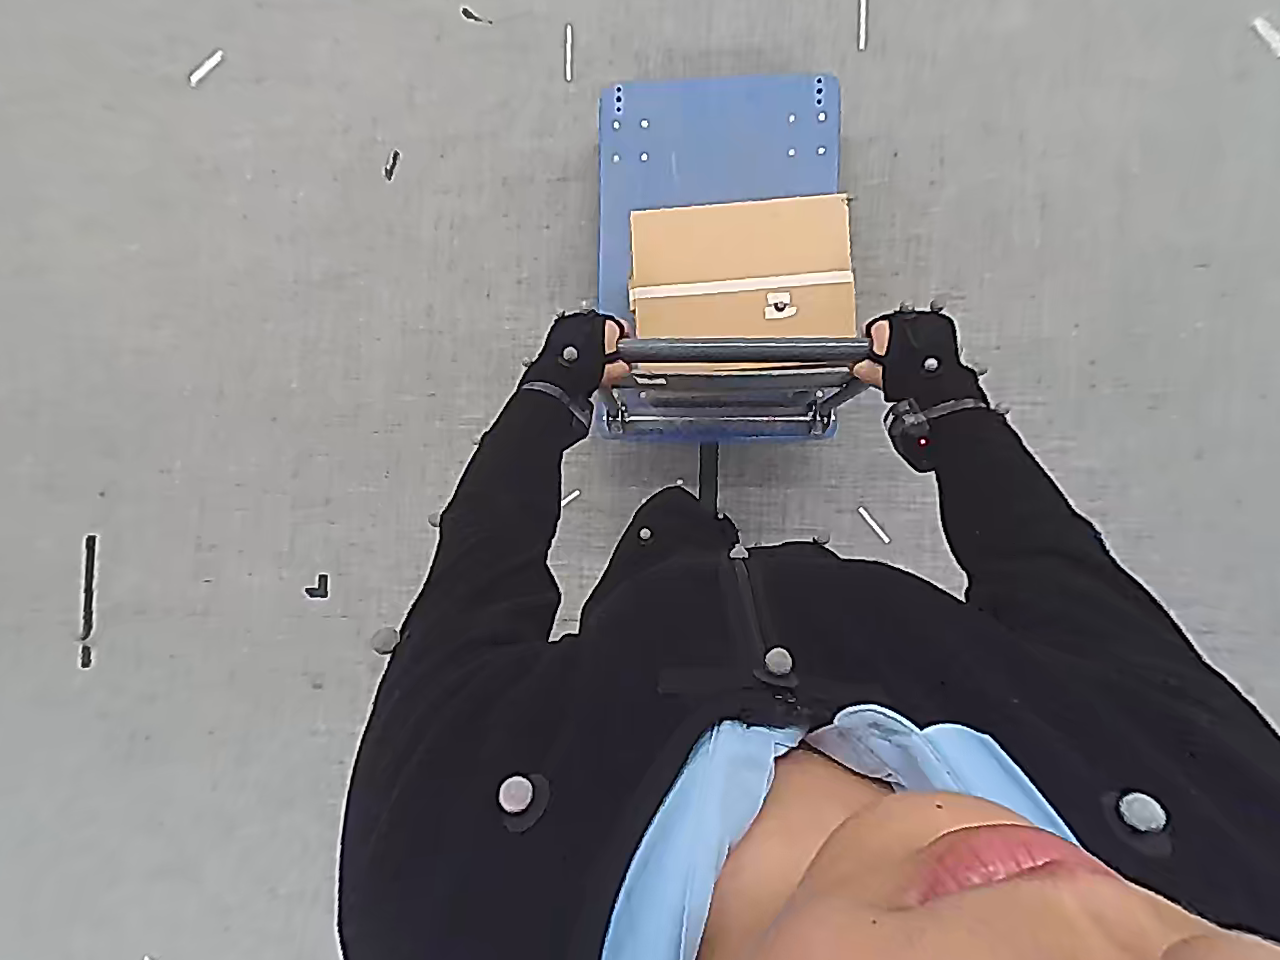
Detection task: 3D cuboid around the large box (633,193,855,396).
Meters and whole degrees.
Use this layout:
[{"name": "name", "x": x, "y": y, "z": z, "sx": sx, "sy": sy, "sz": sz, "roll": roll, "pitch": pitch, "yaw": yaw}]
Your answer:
[{"name": "large box", "x": 0.202, "y": -0.371, "z": 1.168, "sx": 0.408, "sy": 0.320, "sz": 0.320, "roll": -3, "pitch": 90, "yaw": 3}]
